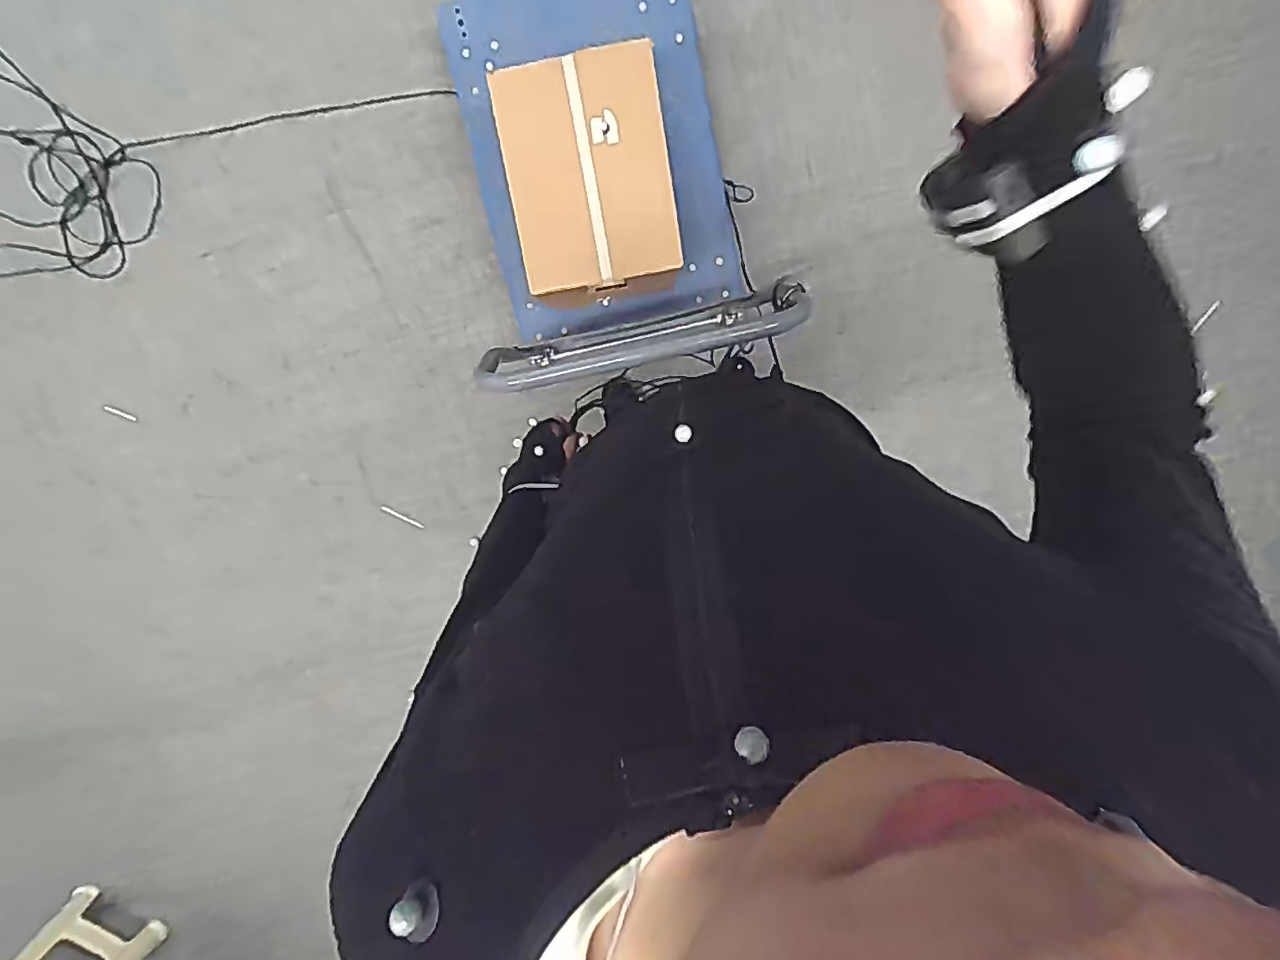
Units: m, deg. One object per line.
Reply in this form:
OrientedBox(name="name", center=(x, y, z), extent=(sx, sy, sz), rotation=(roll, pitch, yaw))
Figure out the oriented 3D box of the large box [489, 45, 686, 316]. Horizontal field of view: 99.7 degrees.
OrientedBox(name="large box", center=(-0.092, -0.602, 1.172), extent=(0.320, 0.320, 0.408), rotation=(-10, 101, 2))
